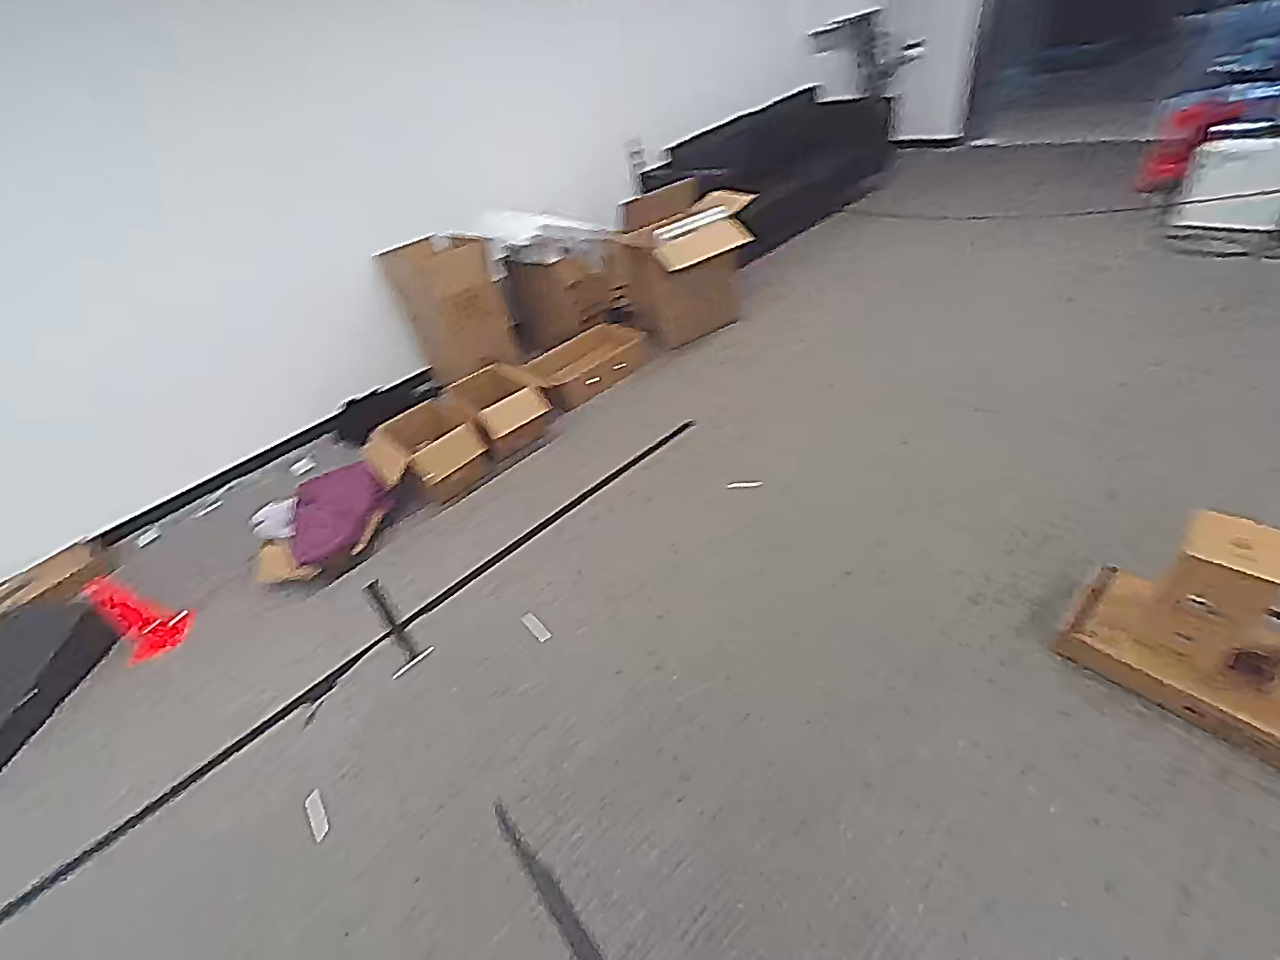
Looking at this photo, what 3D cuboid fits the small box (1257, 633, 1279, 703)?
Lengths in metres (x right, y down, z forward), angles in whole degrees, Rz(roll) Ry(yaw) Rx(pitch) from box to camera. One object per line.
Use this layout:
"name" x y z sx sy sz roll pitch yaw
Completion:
"small box" 1.504 0.408 1.170 0.179 0.176 0.168 -37 44 -26

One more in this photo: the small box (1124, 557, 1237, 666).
"small box" 1.336 0.319 1.329 0.179 0.176 0.168 -39 45 -26

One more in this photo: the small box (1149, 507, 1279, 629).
"small box" 1.303 0.197 1.225 0.168 0.176 0.179 24 53 38
